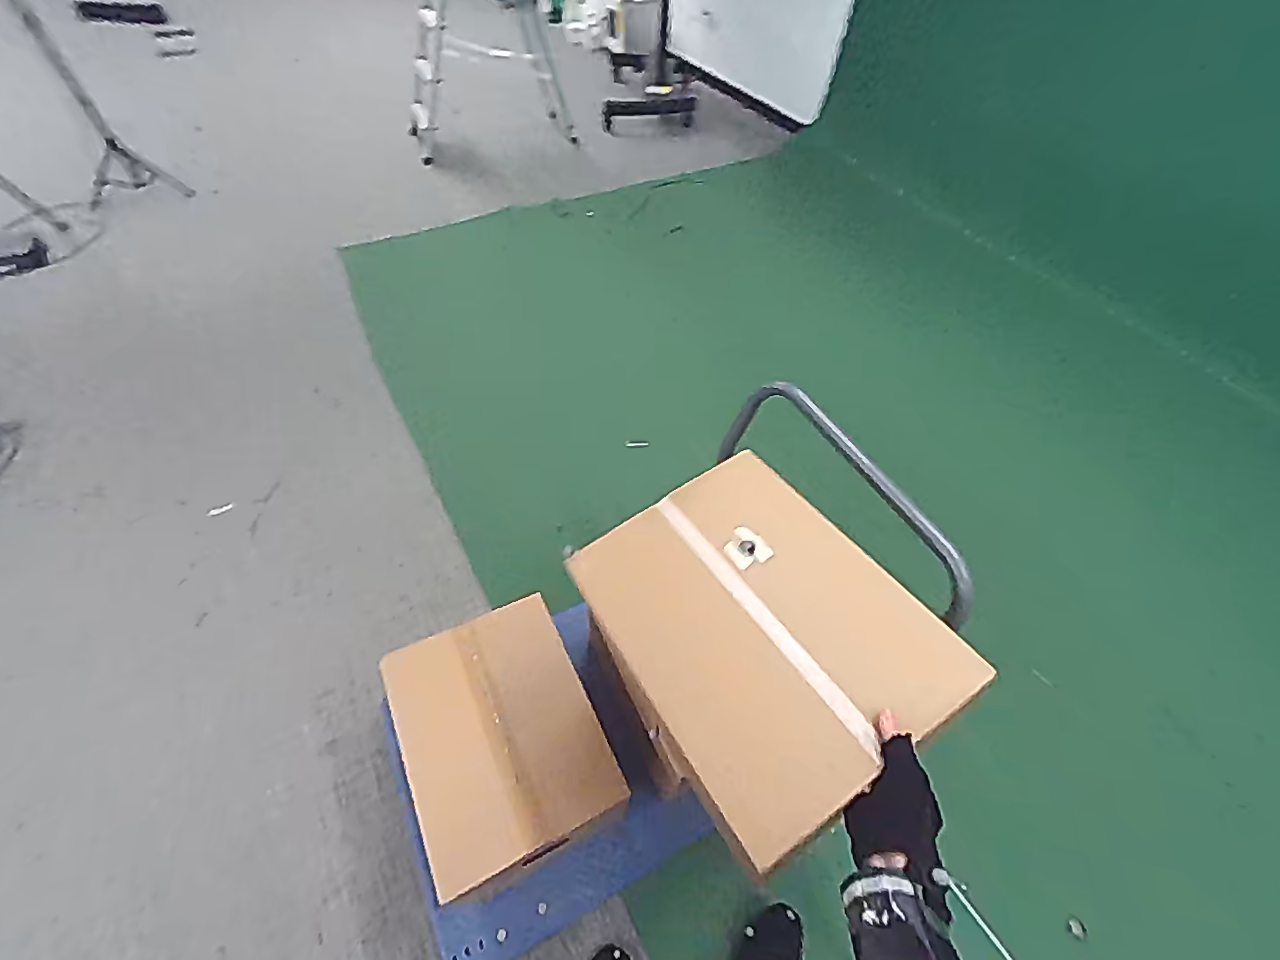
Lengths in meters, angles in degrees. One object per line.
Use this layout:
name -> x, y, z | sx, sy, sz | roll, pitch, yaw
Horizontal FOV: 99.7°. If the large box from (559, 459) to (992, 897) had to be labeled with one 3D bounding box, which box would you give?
large box -> 0.153, 0.253, 0.734 | 0.320, 0.320, 0.408 | -31, 50, -14
